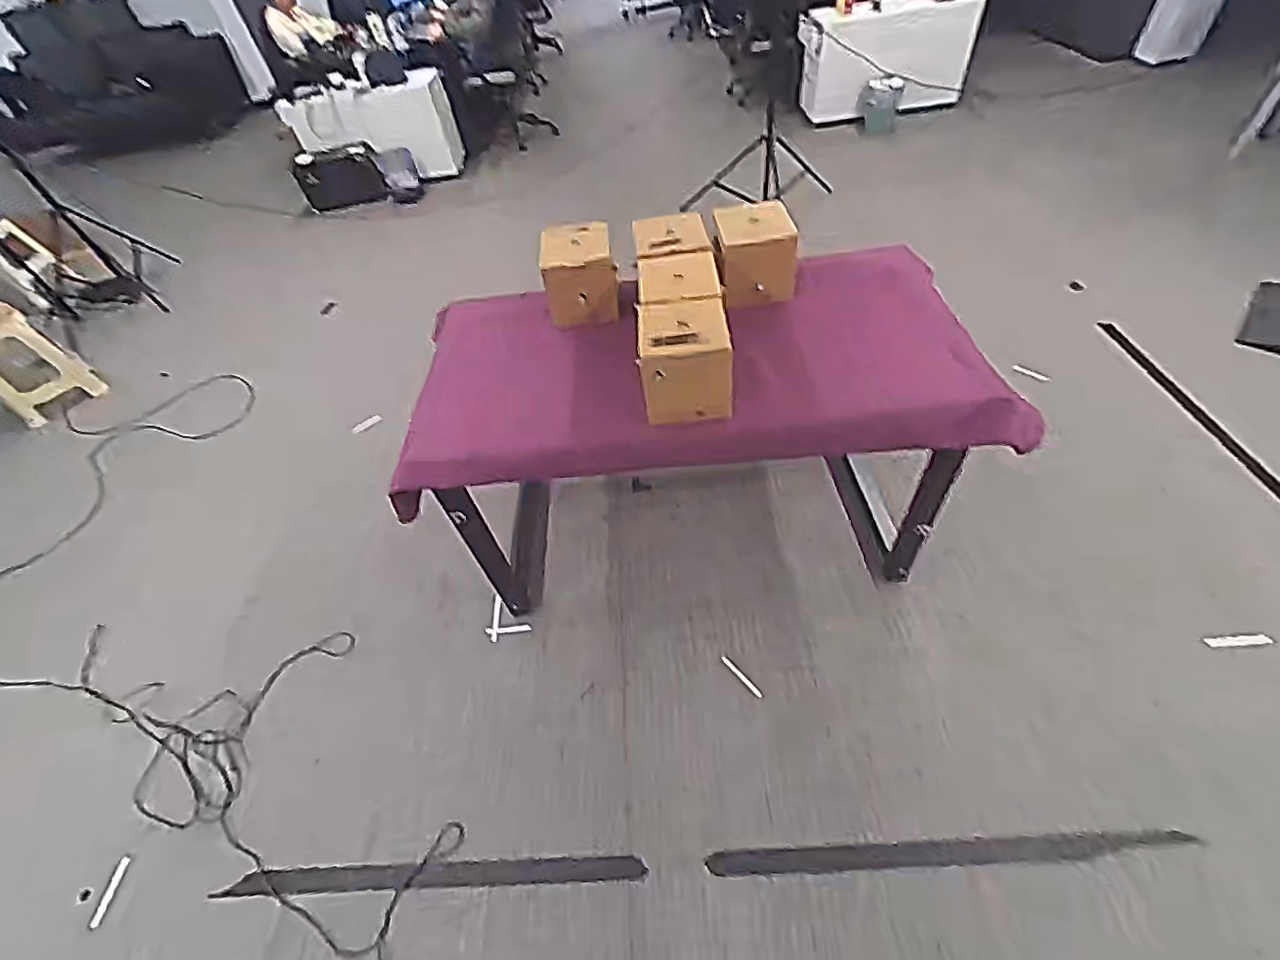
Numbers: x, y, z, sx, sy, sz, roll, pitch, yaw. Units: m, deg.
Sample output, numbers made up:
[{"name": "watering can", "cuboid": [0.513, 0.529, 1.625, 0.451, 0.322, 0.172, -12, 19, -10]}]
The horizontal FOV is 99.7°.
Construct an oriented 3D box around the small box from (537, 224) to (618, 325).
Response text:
[{"name": "small box", "cuboid": [-0.150, -0.499, 1.339, 0.168, 0.176, 0.179, -7, 52, 2]}]
